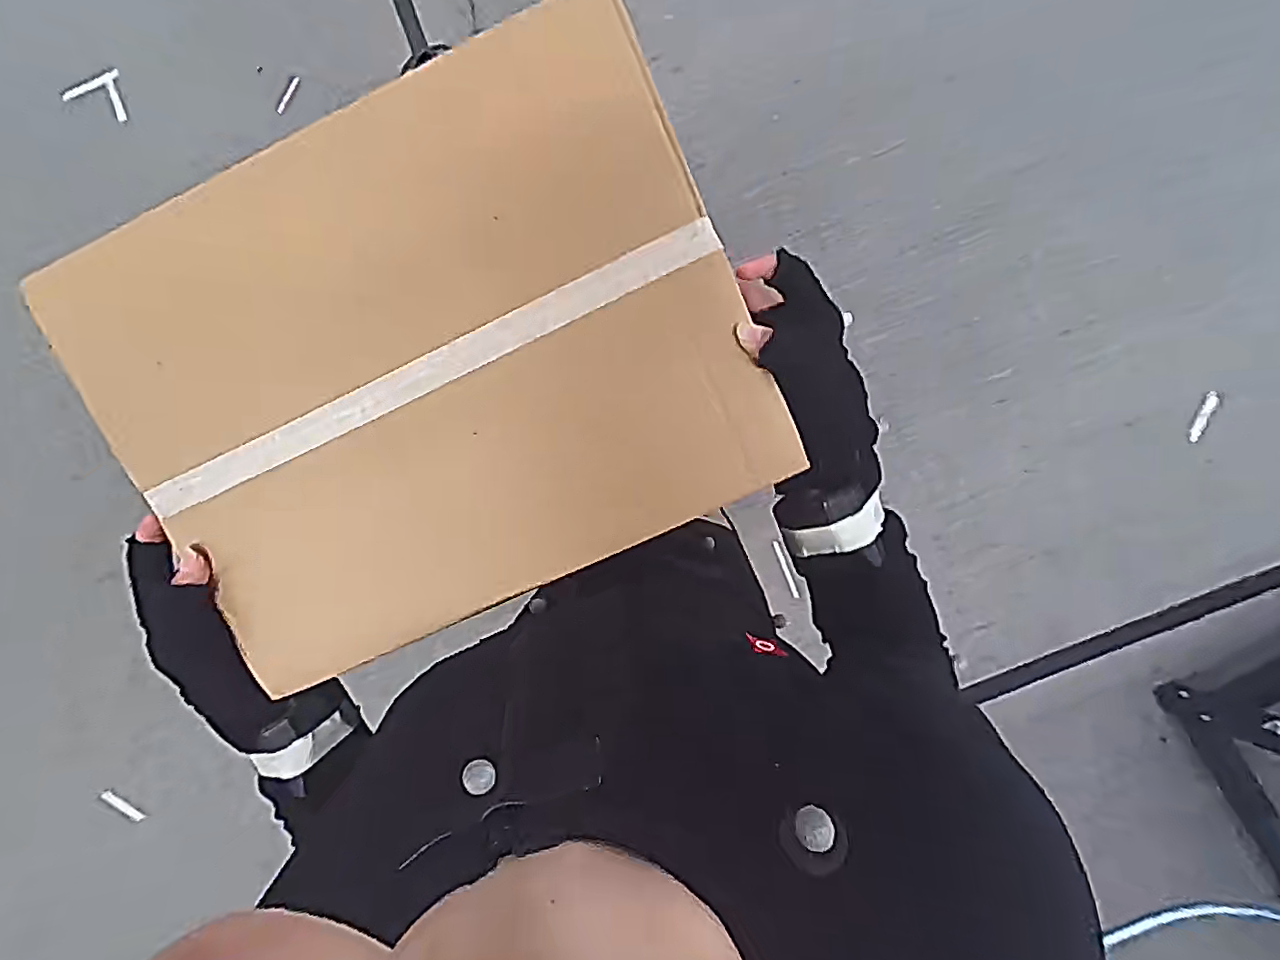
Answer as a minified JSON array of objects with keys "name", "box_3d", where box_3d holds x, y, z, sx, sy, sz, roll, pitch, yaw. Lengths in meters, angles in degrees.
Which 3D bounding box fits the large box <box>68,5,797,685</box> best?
[{"name":"large box","box_3d":[-0.129,-0.091,0.502,0.408,0.320,0.320,-23,97,5]}]
